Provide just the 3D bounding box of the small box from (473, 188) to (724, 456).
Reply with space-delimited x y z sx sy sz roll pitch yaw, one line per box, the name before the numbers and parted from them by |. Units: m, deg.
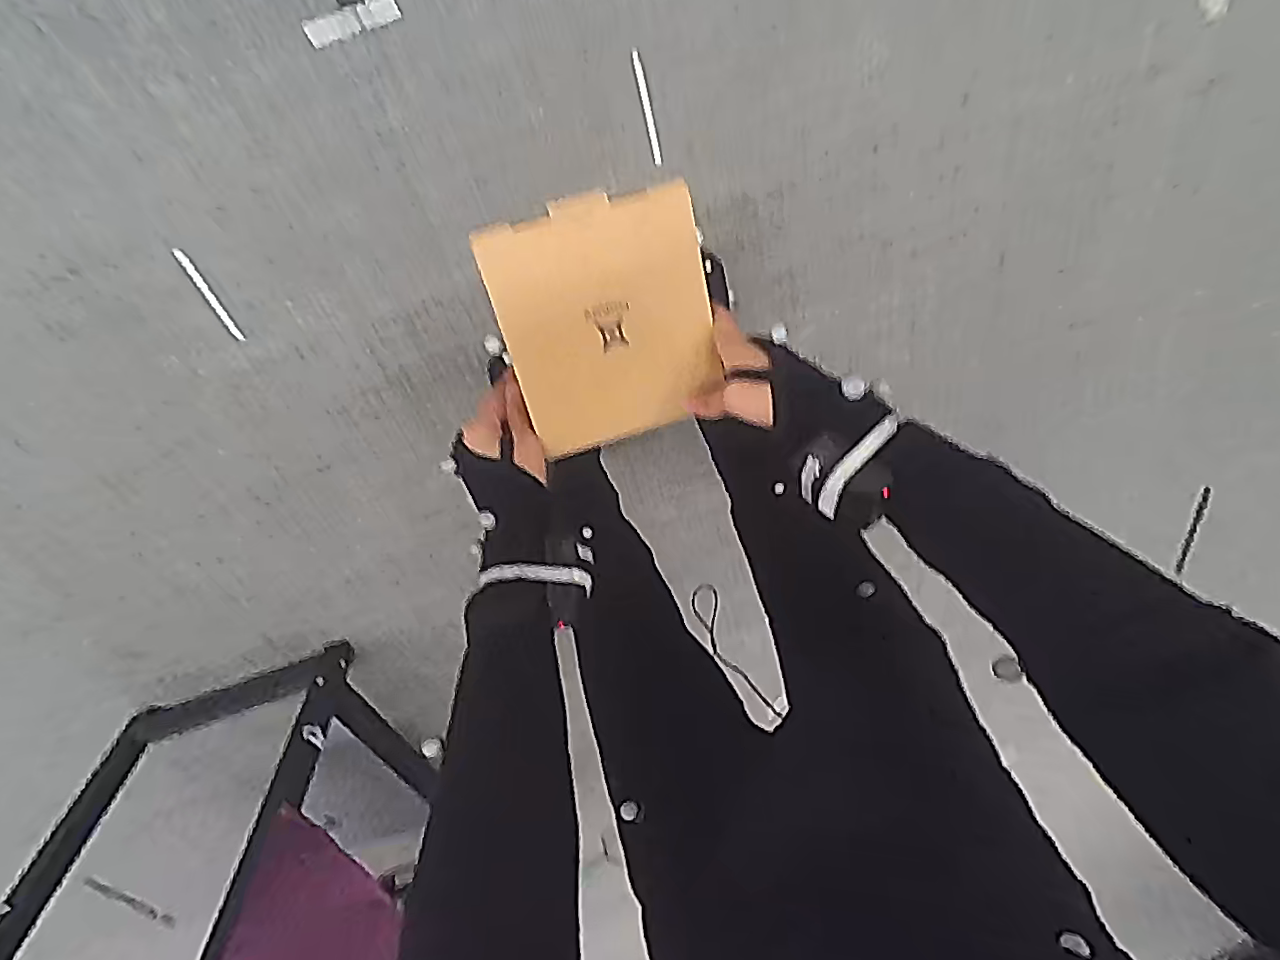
small box | -0.039 -0.146 0.502 0.168 0.176 0.179 -18 112 -5
